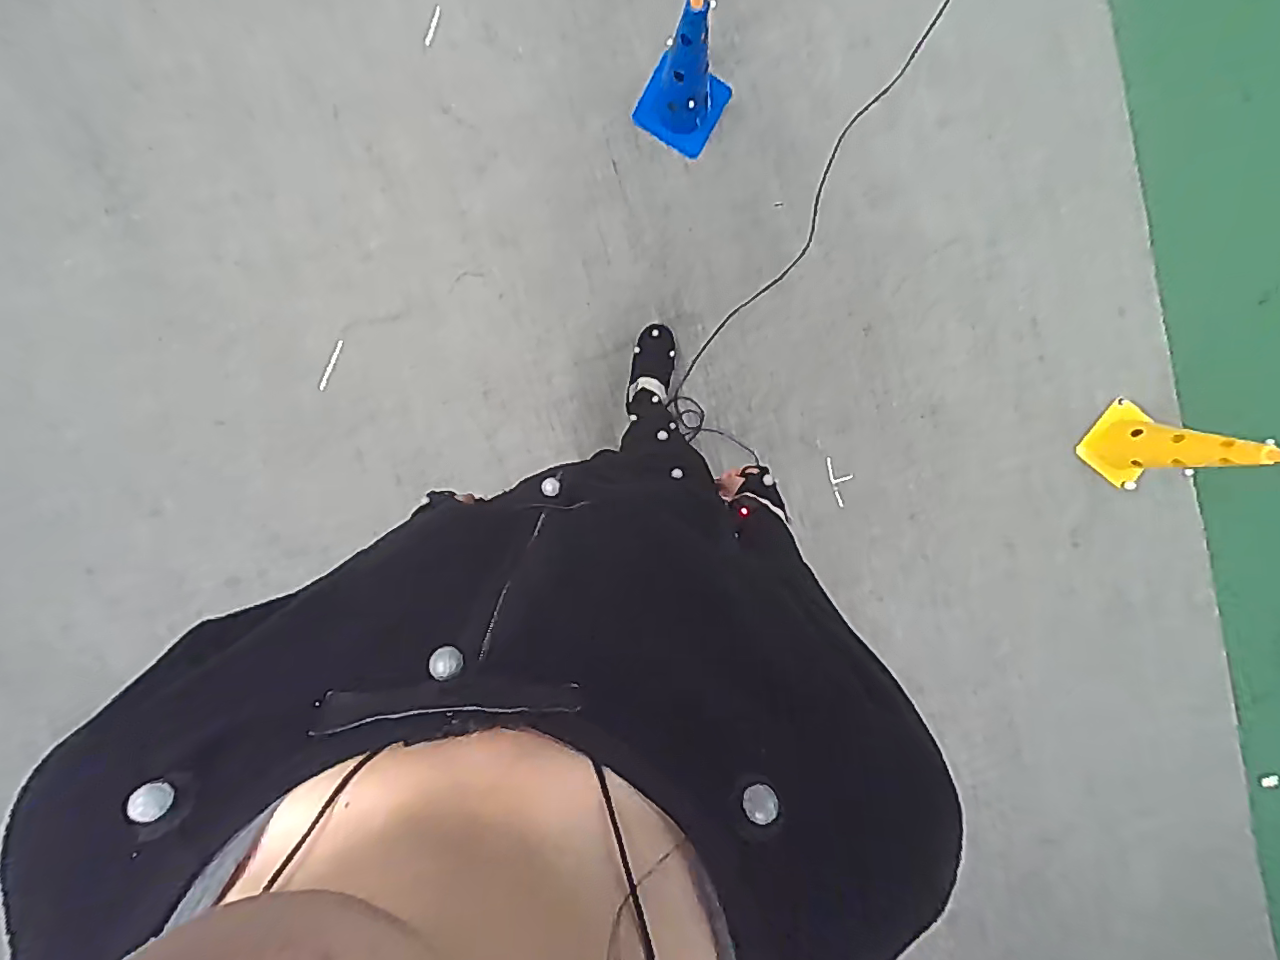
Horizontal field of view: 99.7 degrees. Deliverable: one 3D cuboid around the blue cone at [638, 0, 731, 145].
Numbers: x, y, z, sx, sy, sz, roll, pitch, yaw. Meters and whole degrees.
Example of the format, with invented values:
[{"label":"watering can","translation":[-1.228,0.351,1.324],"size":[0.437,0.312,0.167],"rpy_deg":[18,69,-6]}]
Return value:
[{"label":"blue cone","translation":[0.107,-0.930,1.185],"size":[0.193,0.380,0.192],"rpy_deg":[28,97,-3]}]
